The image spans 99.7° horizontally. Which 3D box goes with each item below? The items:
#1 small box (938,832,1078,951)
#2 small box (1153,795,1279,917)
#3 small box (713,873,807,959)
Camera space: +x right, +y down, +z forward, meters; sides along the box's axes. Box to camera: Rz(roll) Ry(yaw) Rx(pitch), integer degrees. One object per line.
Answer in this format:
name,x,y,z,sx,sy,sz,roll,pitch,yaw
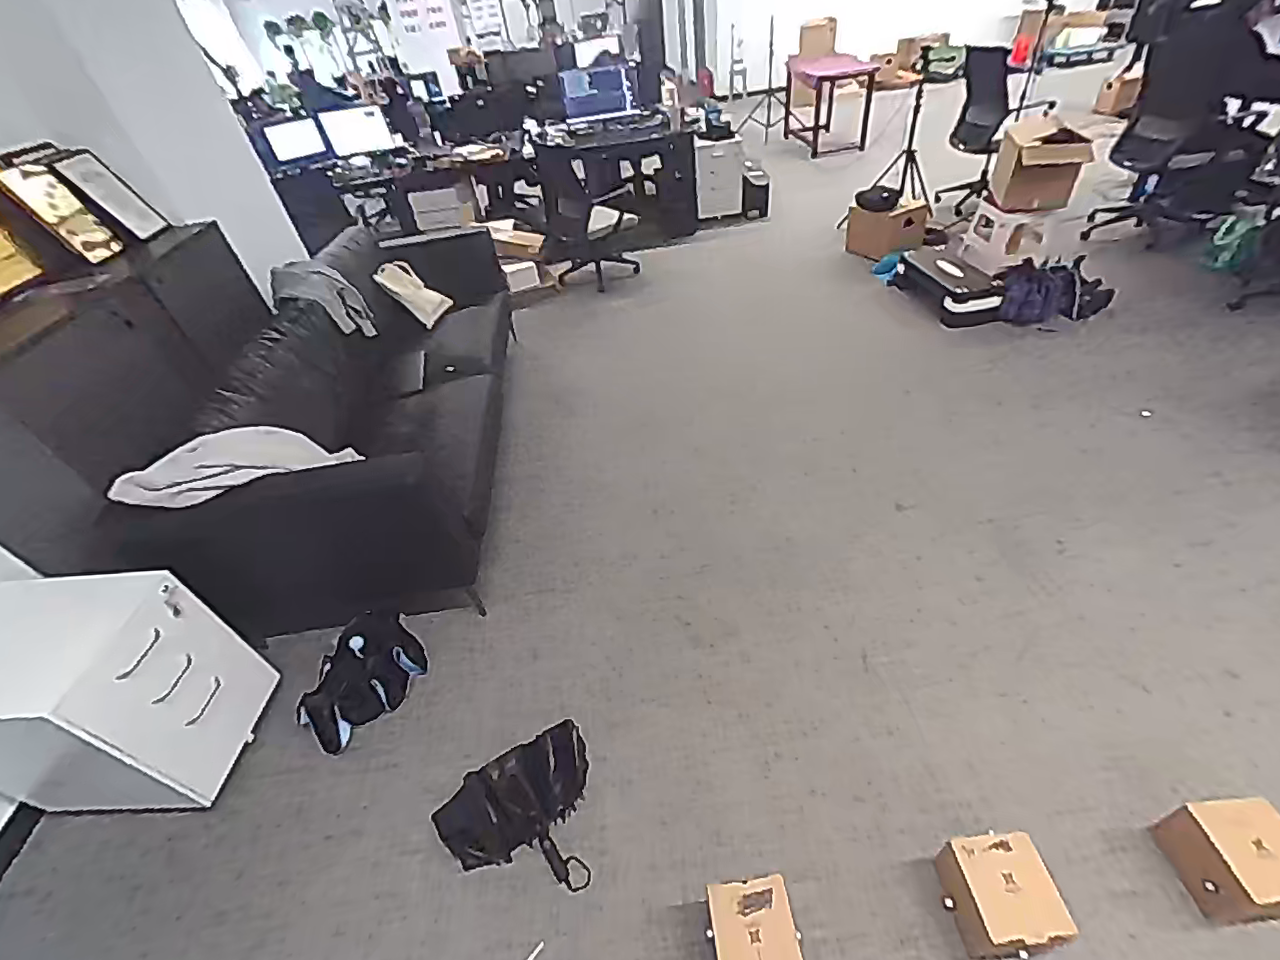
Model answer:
small box,0.766,0.878,1.149,0.168,0.176,0.179,-8,42,3
small box,1.260,0.795,1.137,0.168,0.176,0.179,-8,40,2
small box,0.251,0.971,1.151,0.168,0.176,0.179,-10,42,2
